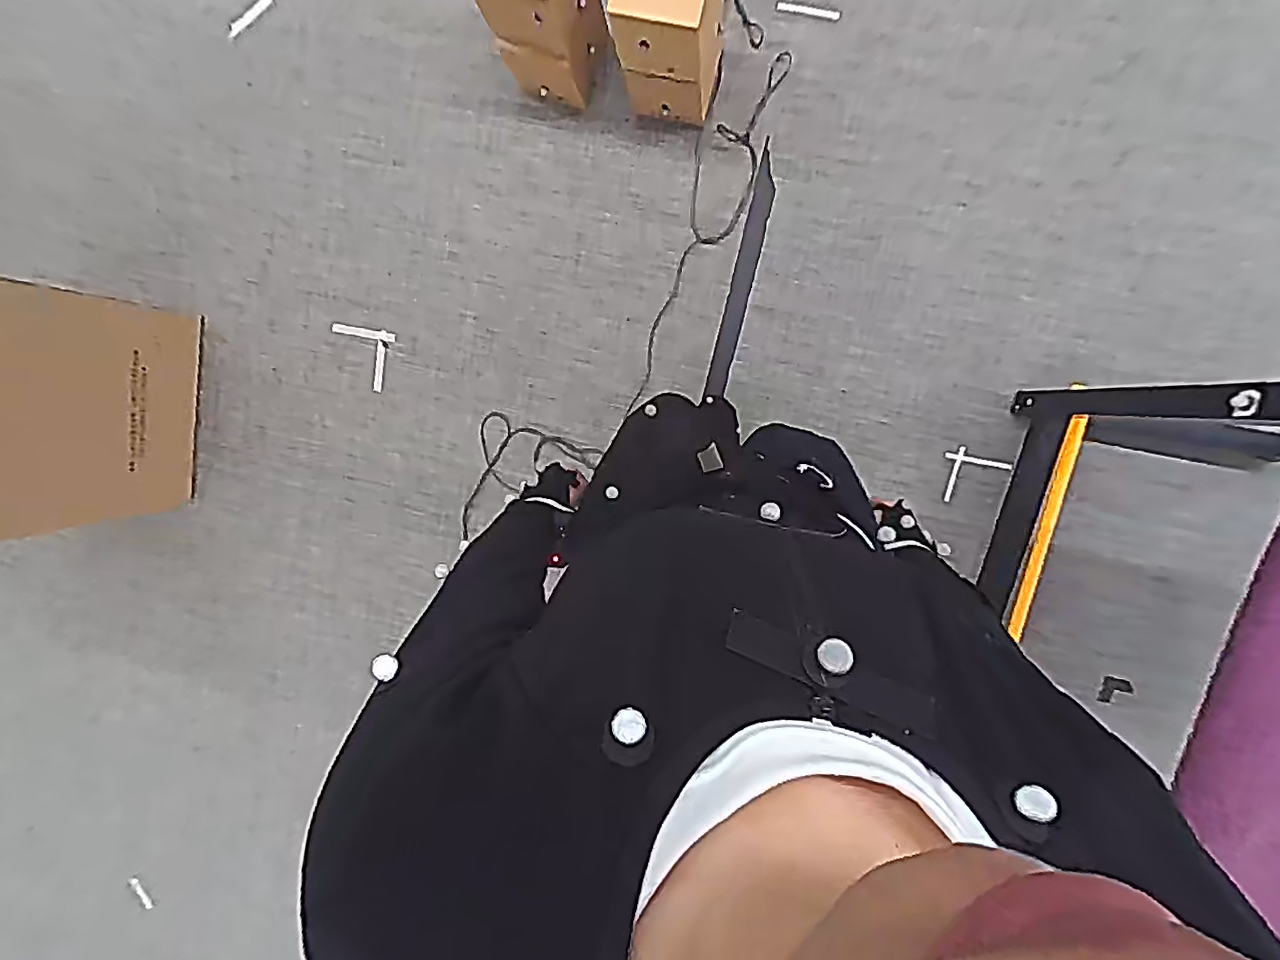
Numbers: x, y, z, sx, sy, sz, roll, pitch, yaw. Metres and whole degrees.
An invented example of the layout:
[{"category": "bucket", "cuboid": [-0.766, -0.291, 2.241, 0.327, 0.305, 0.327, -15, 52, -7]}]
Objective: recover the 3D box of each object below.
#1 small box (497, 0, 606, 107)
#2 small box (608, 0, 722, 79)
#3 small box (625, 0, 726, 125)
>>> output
[{"category": "small box", "cuboid": [-0.180, -0.956, 1.163, 0.168, 0.176, 0.179, 20, 101, 4]}, {"category": "small box", "cuboid": [0.054, -0.876, 0.981, 0.168, 0.176, 0.179, 15, 99, 6]}, {"category": "small box", "cuboid": [0.077, -0.897, 1.141, 0.168, 0.176, 0.179, 15, 100, 6]}]
